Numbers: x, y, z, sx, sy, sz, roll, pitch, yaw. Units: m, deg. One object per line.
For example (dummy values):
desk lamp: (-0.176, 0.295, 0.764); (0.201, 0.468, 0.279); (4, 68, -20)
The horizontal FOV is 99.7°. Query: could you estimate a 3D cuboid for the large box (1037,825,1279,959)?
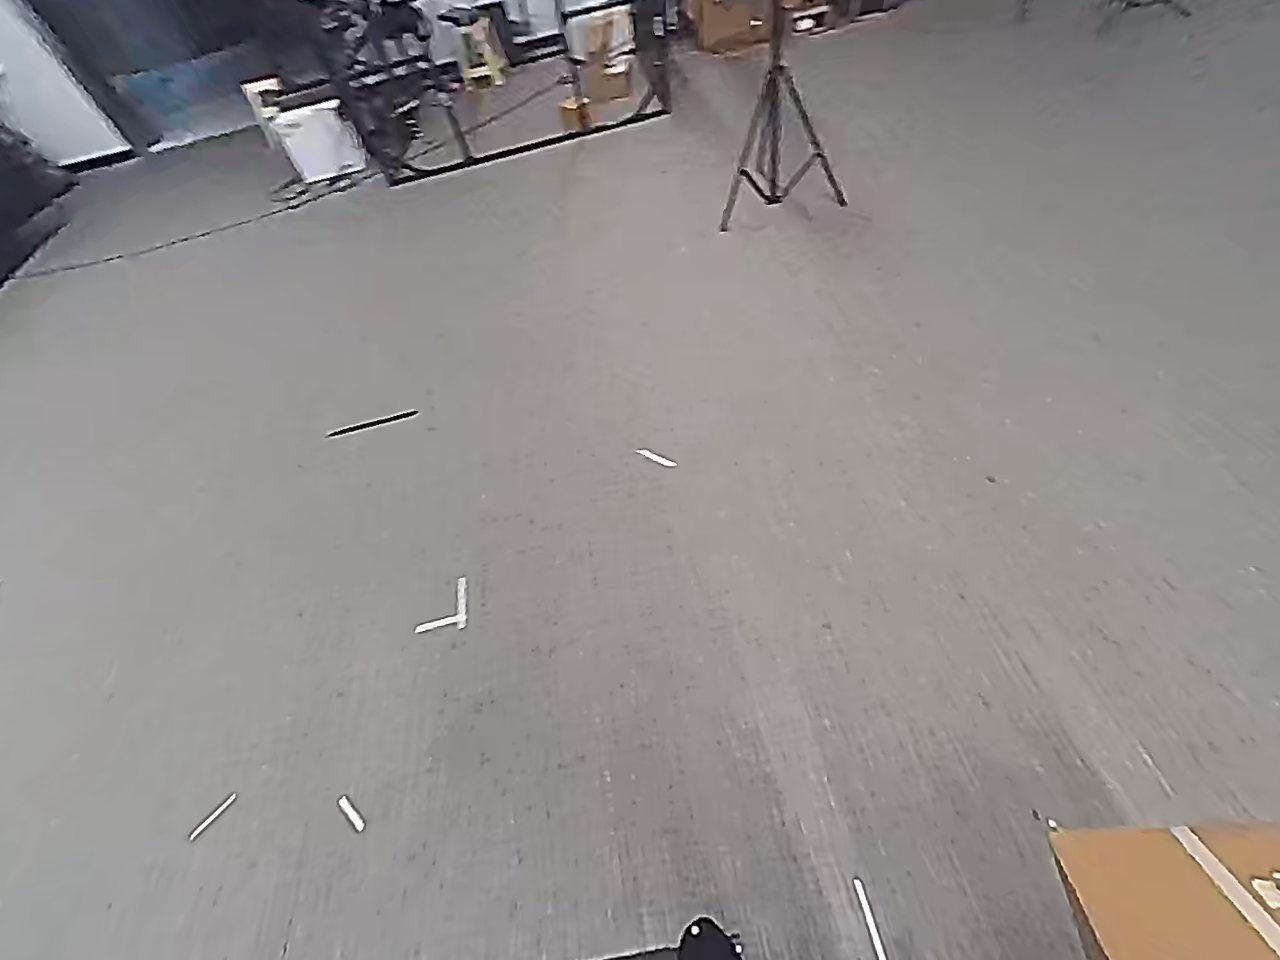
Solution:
large box: (0.700, 0.637, 0.561); (0.320, 0.408, 0.320); (-15, 83, 21)
